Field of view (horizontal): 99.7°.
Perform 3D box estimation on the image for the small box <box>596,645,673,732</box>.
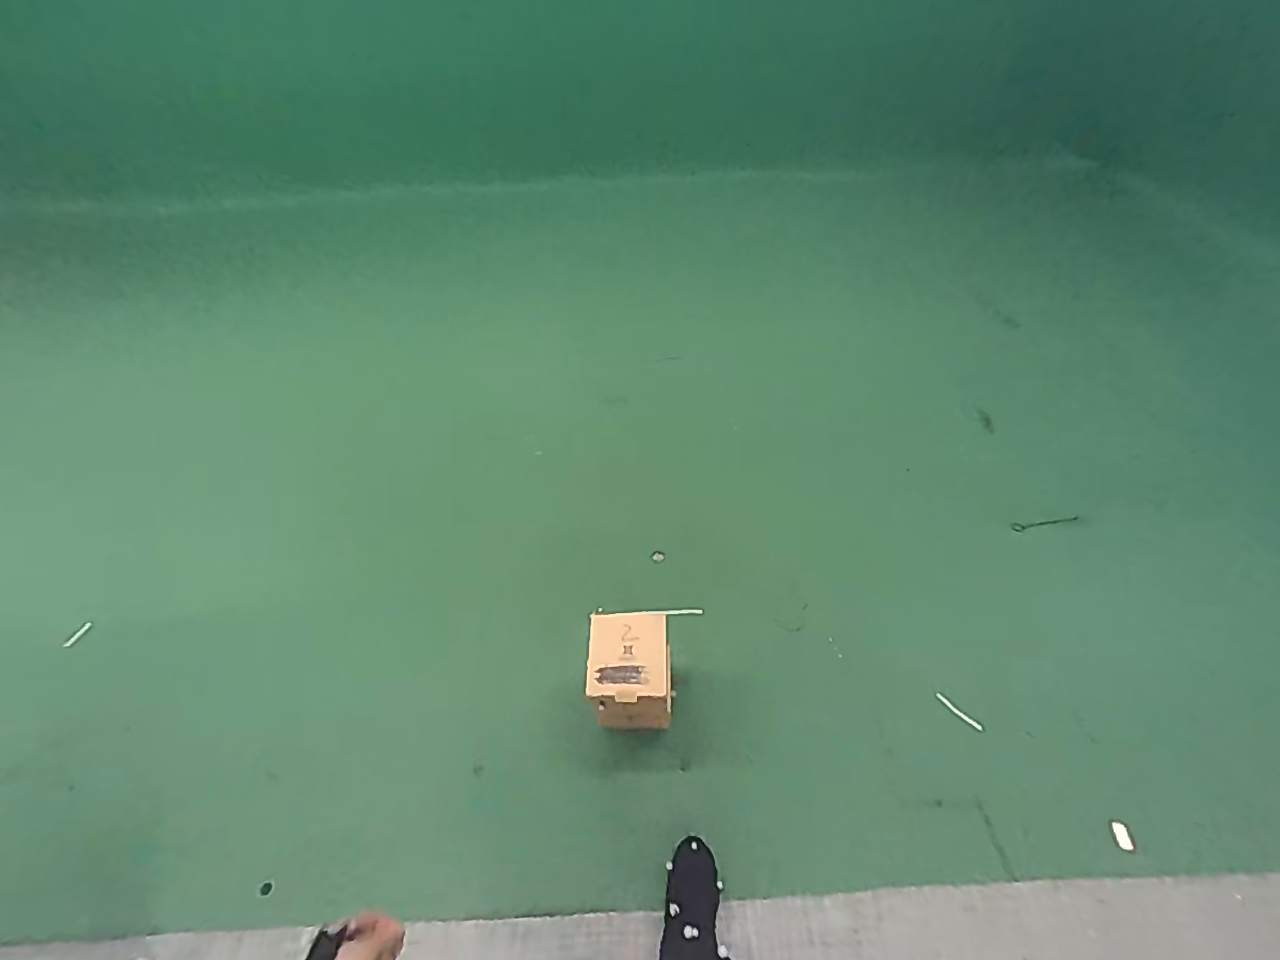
[{"bbox_3d":[-0.009,0.511,1.322,0.179,0.176,0.168,0,55,2],"label":"small box"}]
